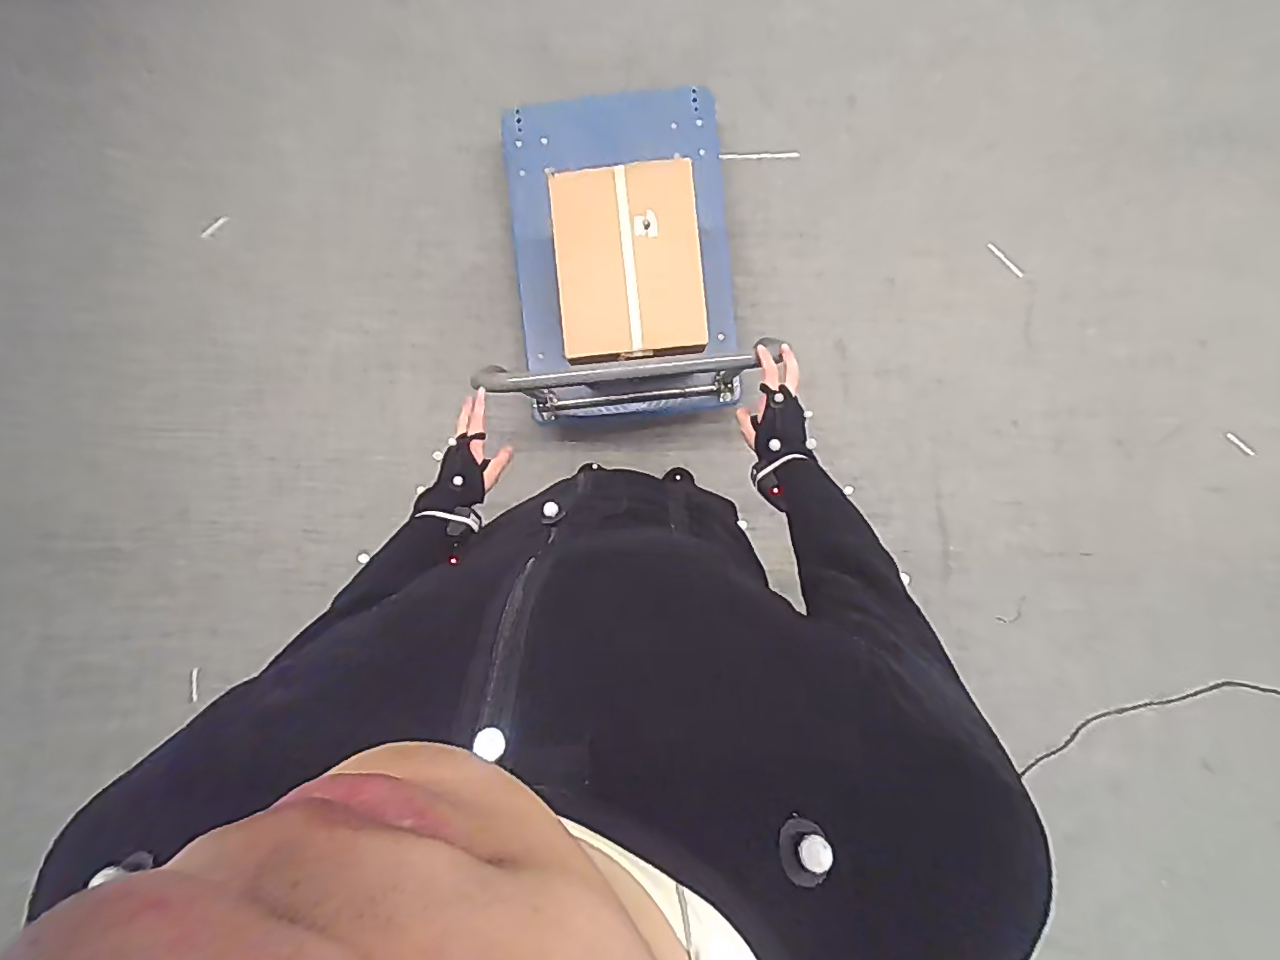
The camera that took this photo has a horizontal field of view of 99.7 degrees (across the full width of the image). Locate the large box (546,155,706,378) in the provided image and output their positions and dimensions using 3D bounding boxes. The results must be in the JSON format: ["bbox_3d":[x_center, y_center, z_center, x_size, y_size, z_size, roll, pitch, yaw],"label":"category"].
[{"bbox_3d":[-0.025,-0.488,1.317,0.320,0.320,0.408,-6,90,1],"label":"large box"}]
